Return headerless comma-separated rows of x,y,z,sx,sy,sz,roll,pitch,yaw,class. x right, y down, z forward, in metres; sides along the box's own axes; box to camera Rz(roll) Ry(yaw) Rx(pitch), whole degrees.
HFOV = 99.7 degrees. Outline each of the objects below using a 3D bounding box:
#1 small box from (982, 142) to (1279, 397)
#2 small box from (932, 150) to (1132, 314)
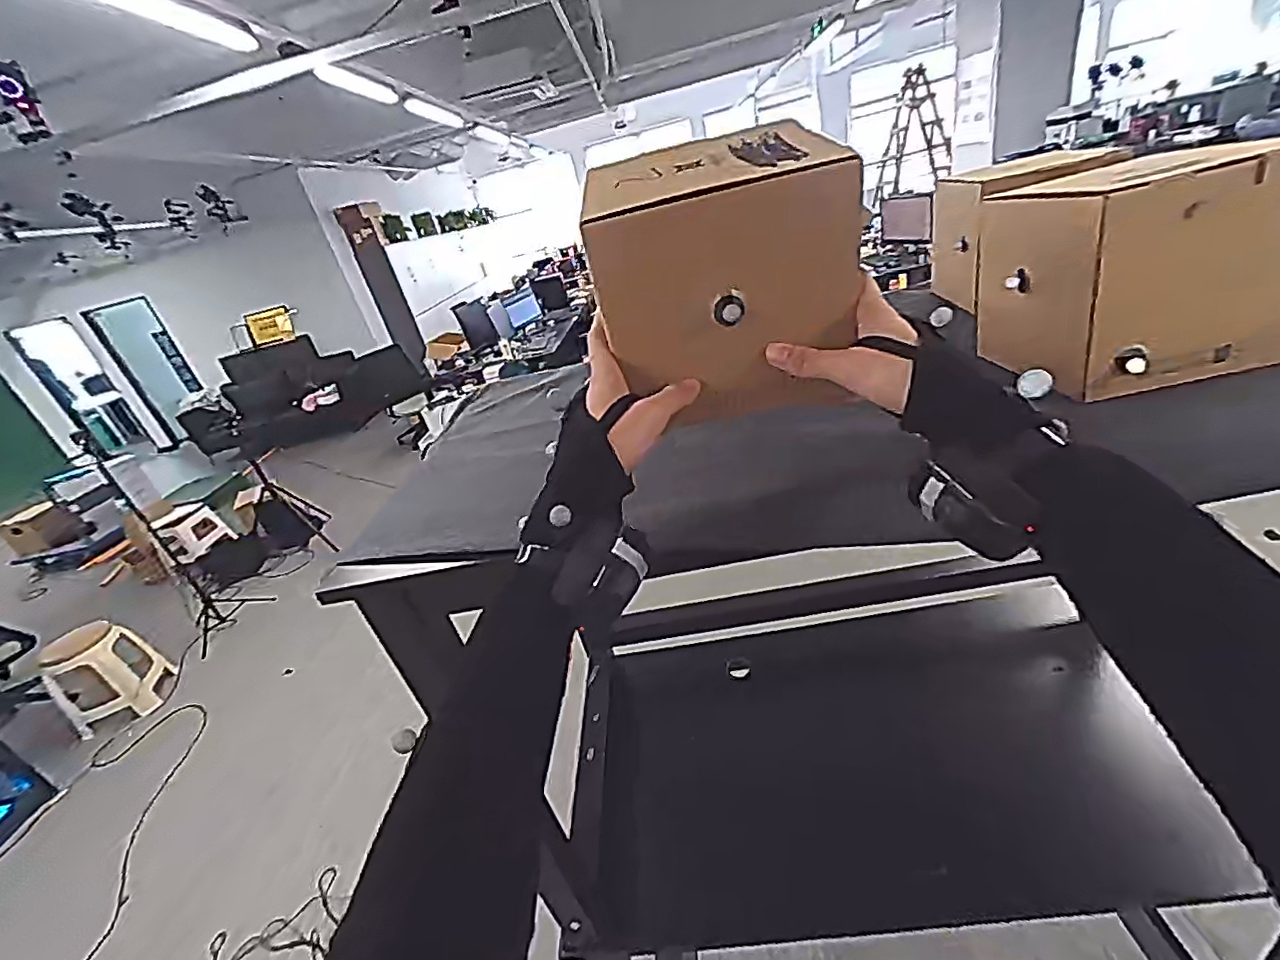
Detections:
0.441,-0.185,0.492,0.168,0.176,0.179,-11,25,7,small box
0.524,-0.340,0.752,0.168,0.176,0.179,-8,27,11,small box
